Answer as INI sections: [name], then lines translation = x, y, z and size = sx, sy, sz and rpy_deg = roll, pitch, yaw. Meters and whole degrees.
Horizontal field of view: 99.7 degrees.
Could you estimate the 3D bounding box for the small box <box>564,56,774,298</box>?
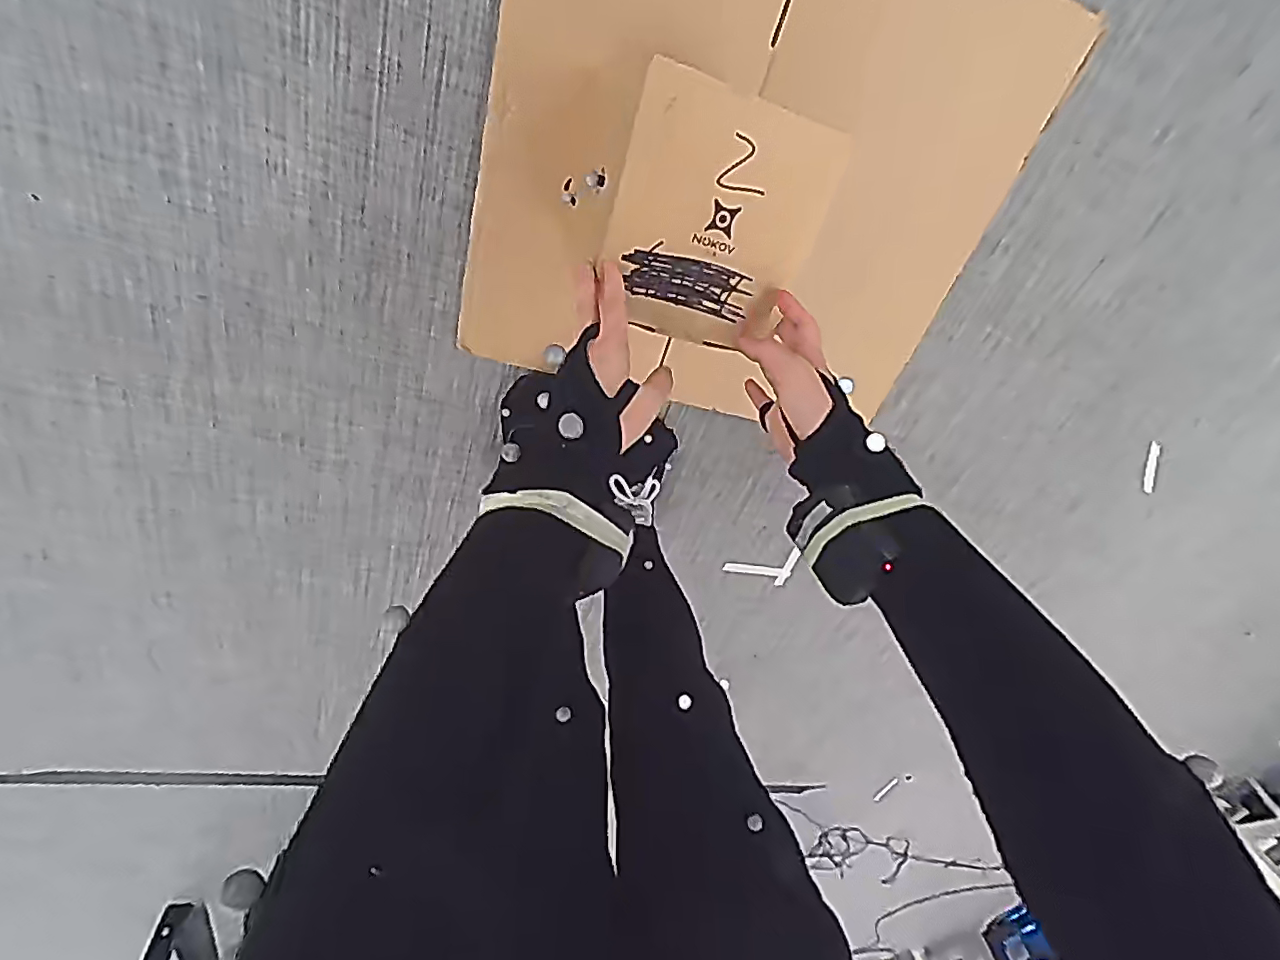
[small box]
translation = 0.015, -0.335, 0.608
size = 0.168, 0.176, 0.179
rpy_deg = 11, 121, -20
